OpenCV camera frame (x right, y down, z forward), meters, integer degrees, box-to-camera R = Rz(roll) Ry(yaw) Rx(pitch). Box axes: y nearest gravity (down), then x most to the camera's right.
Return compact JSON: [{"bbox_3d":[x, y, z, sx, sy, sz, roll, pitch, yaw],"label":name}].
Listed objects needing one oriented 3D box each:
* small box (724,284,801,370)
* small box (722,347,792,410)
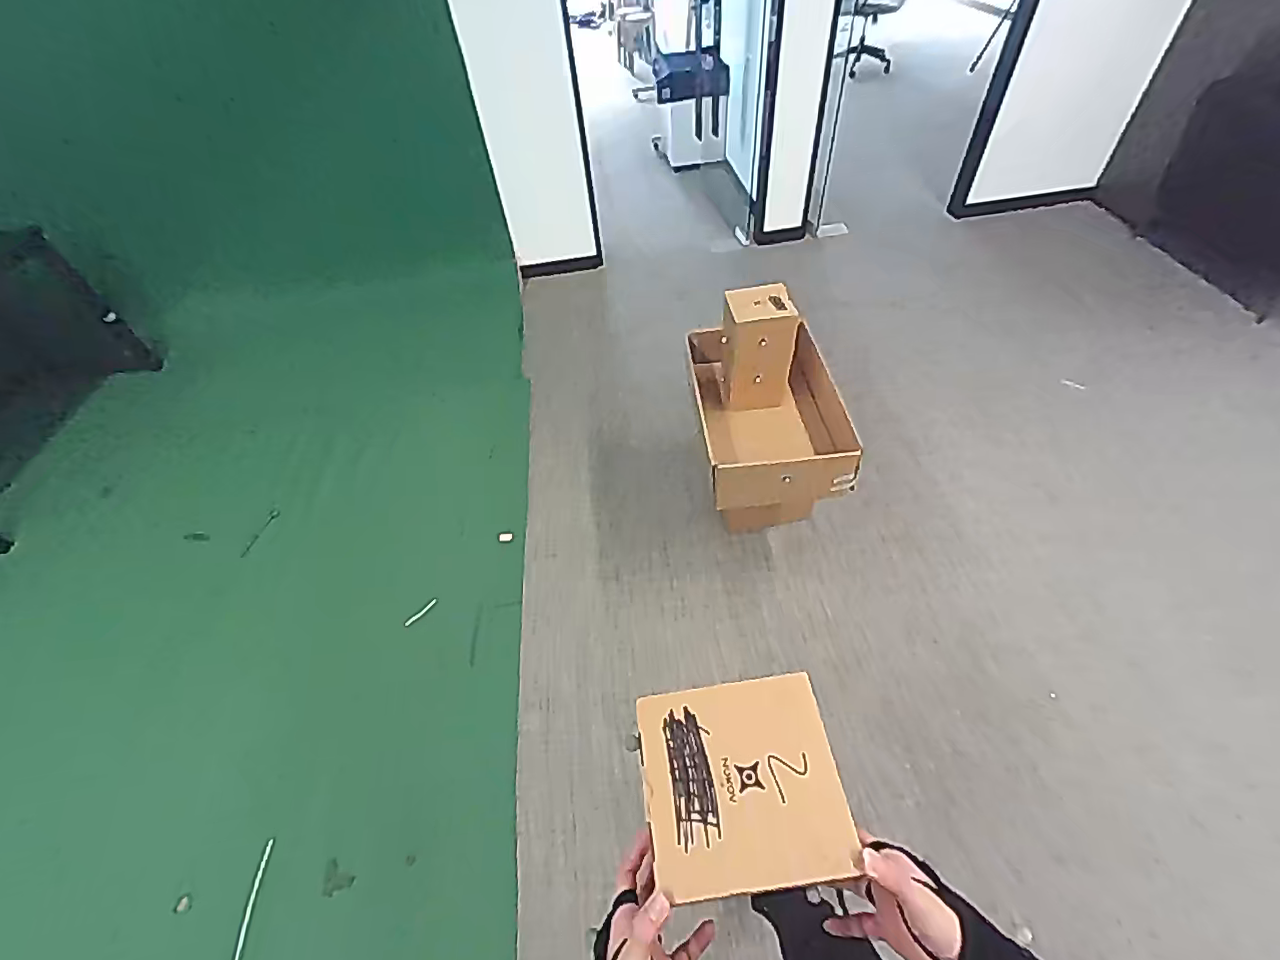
[{"bbox_3d":[0.347,-0.440,1.565,0.179,0.176,0.168,-8,50,0],"label":"small box"},{"bbox_3d":[0.360,-0.337,1.693,0.179,0.176,0.168,-6,50,1],"label":"small box"}]
